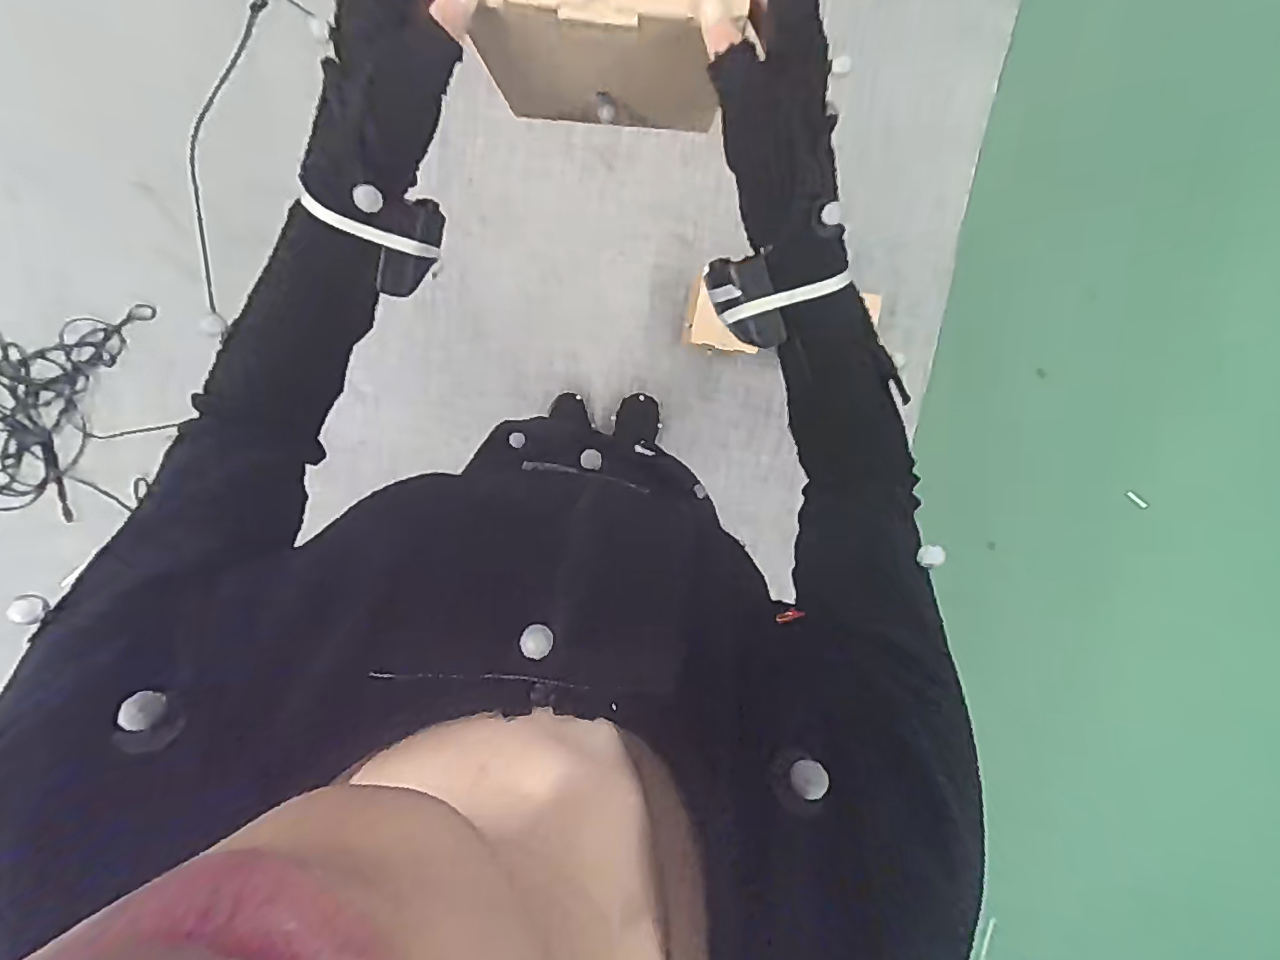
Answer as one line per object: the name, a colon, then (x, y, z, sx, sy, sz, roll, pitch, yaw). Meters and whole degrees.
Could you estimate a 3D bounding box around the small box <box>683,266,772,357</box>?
small box: (0.207, -0.406, 1.330, 0.168, 0.176, 0.179, 9, 101, -5)

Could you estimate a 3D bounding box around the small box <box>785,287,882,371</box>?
small box: (0.473, -0.369, 1.349, 0.168, 0.176, 0.179, 6, 100, -4)
